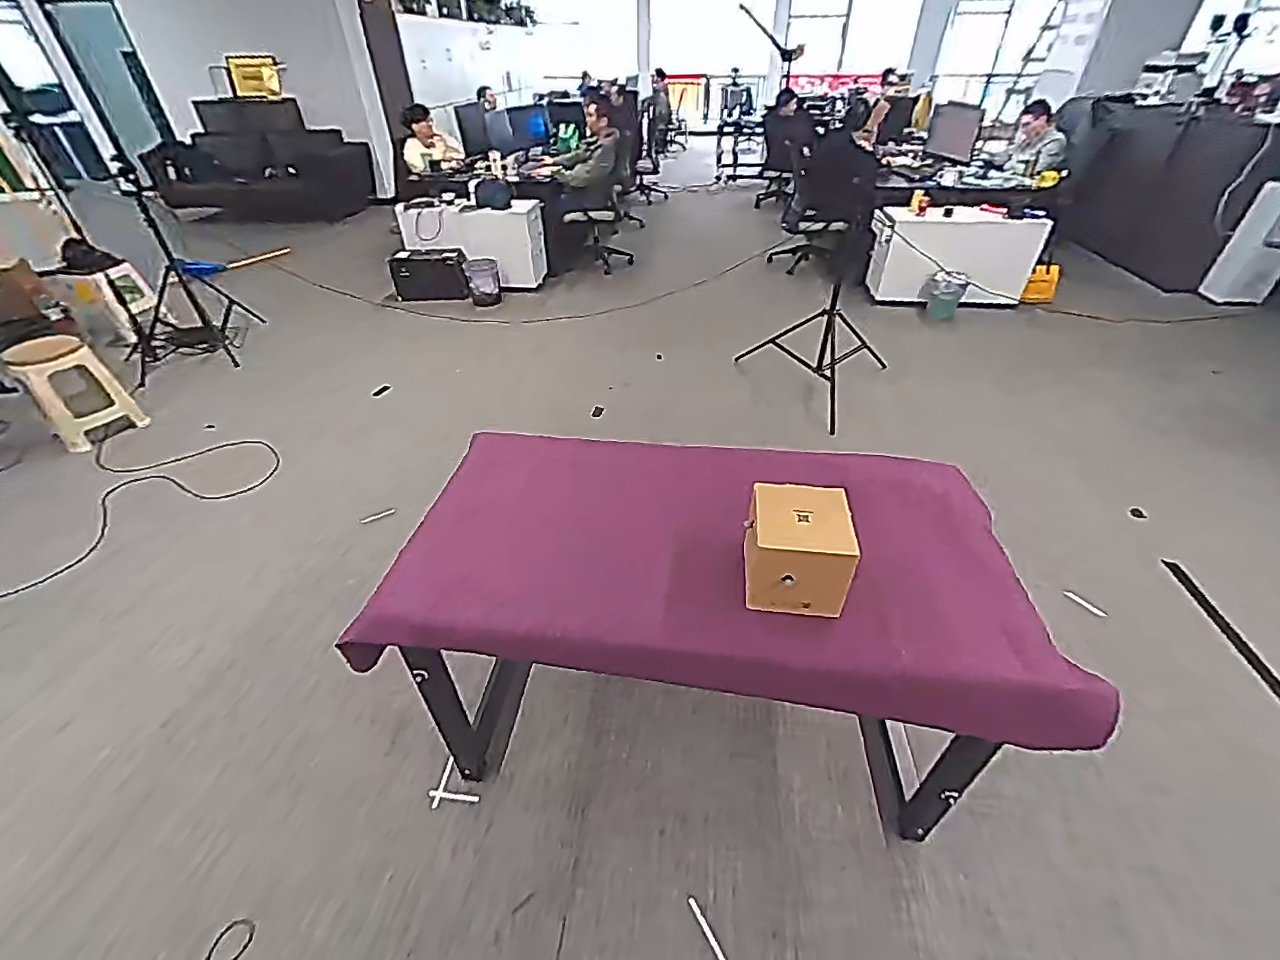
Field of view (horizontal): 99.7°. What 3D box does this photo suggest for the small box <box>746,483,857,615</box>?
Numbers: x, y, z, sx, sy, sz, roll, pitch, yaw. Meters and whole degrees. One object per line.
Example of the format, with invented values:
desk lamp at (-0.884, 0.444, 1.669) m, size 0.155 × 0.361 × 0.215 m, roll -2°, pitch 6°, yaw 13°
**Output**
small box at (0.287, 0.127, 0.999) m, size 0.168 × 0.176 × 0.179 m, roll 4°, pitch 38°, yaw 6°
